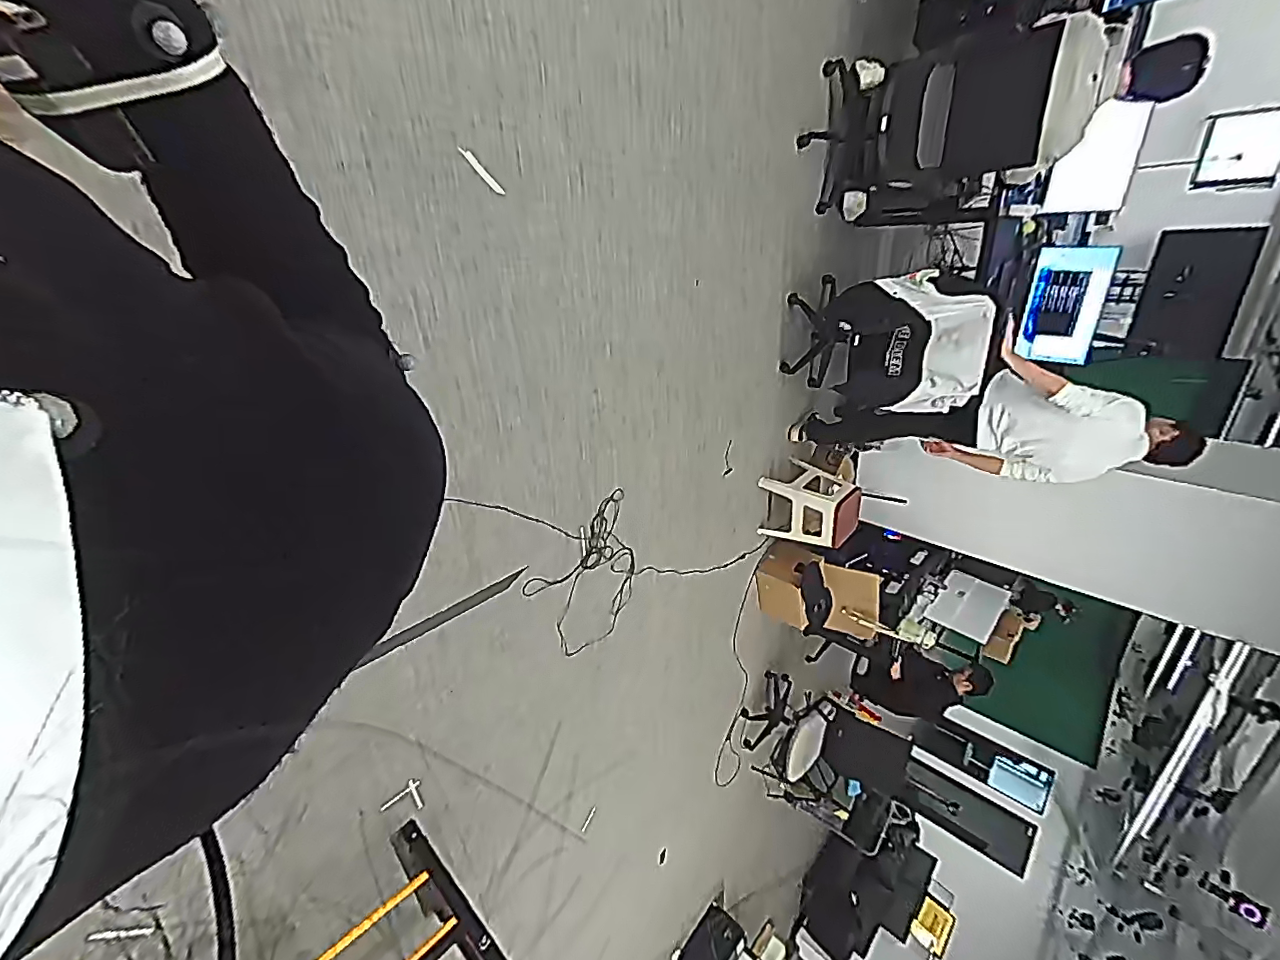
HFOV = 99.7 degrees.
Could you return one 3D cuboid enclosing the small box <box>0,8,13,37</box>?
[{"bbox_3d":[-0.722,-0.505,0.475,0.179,0.176,0.168,-29,127,-40],"label":"small box"}]
